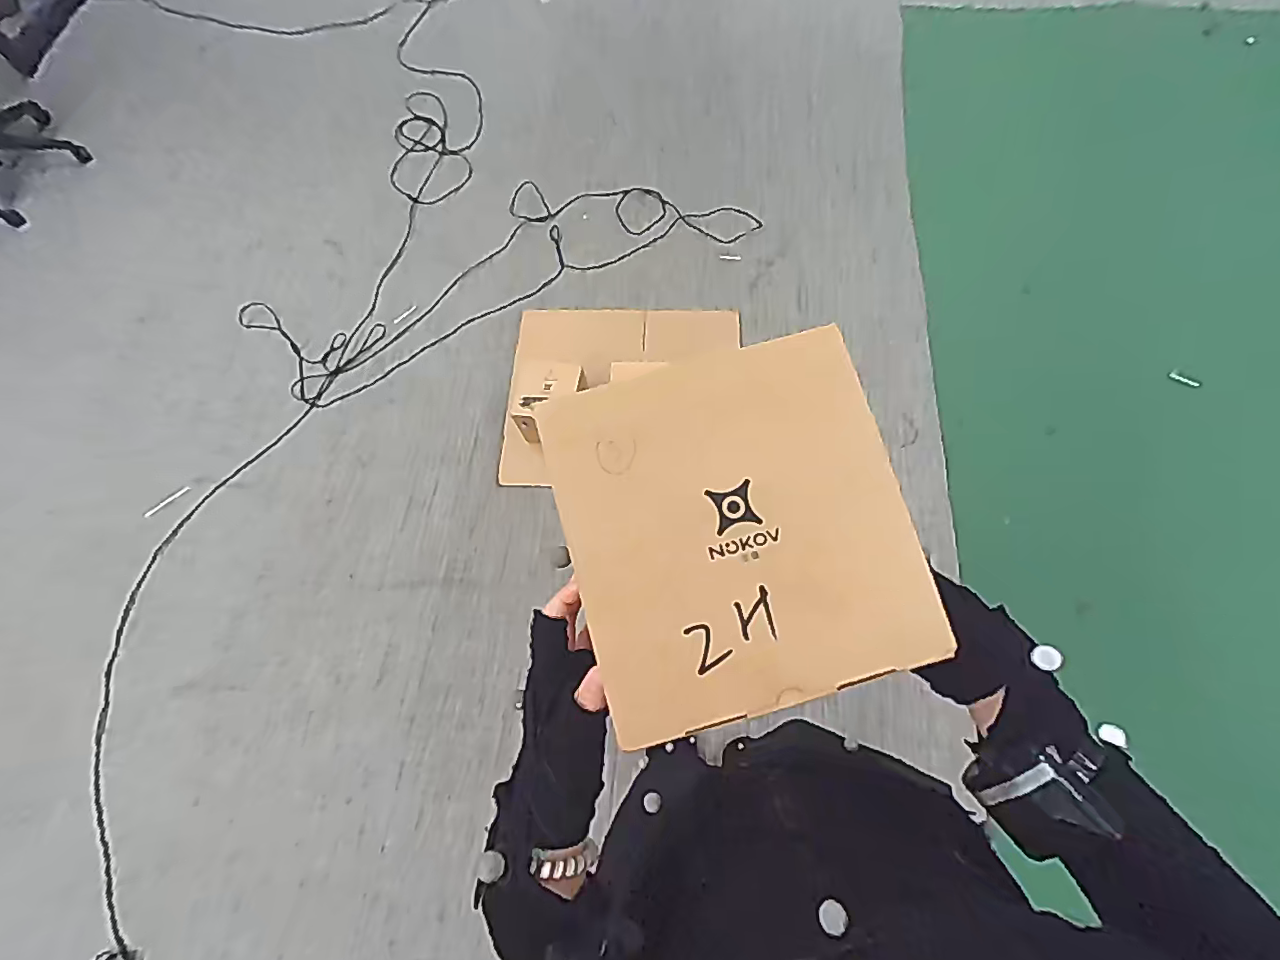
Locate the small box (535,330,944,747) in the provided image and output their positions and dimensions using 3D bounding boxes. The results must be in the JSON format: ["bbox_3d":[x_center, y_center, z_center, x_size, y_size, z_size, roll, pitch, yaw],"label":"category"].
[{"bbox_3d":[0.044,0.036,0.344,0.168,0.176,0.179,-16,81,-2],"label":"small box"}]

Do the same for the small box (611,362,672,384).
[{"bbox_3d":[0.005,-0.209,1.509,0.168,0.176,0.179,0,69,3],"label":"small box"}]
